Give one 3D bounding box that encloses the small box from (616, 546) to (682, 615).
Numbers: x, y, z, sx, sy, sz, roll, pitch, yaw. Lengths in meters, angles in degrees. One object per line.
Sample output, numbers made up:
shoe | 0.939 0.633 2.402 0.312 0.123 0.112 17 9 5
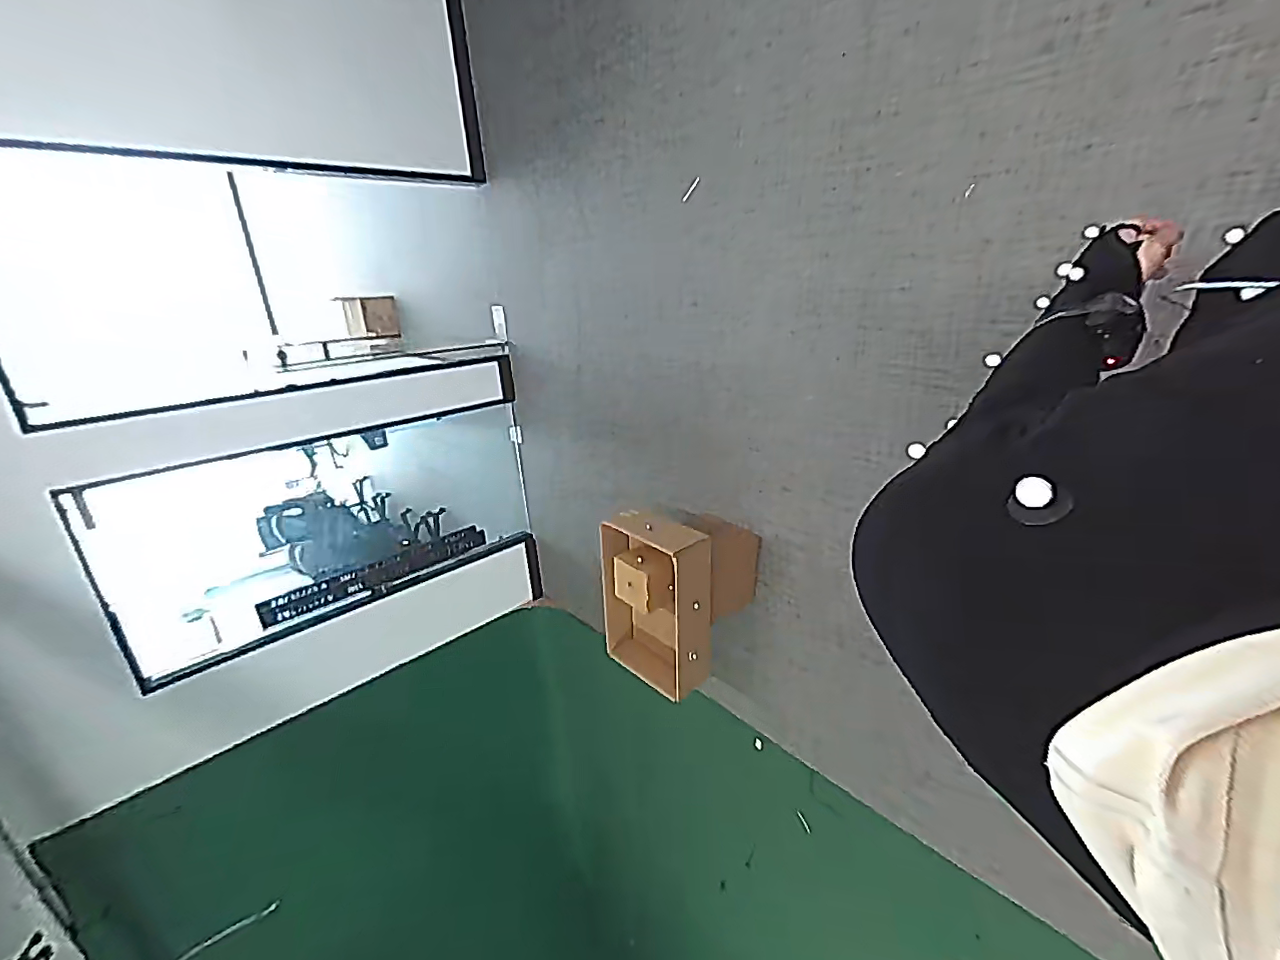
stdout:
small box | 0.032 0.357 1.966 0.179 0.176 0.168 20 119 43
